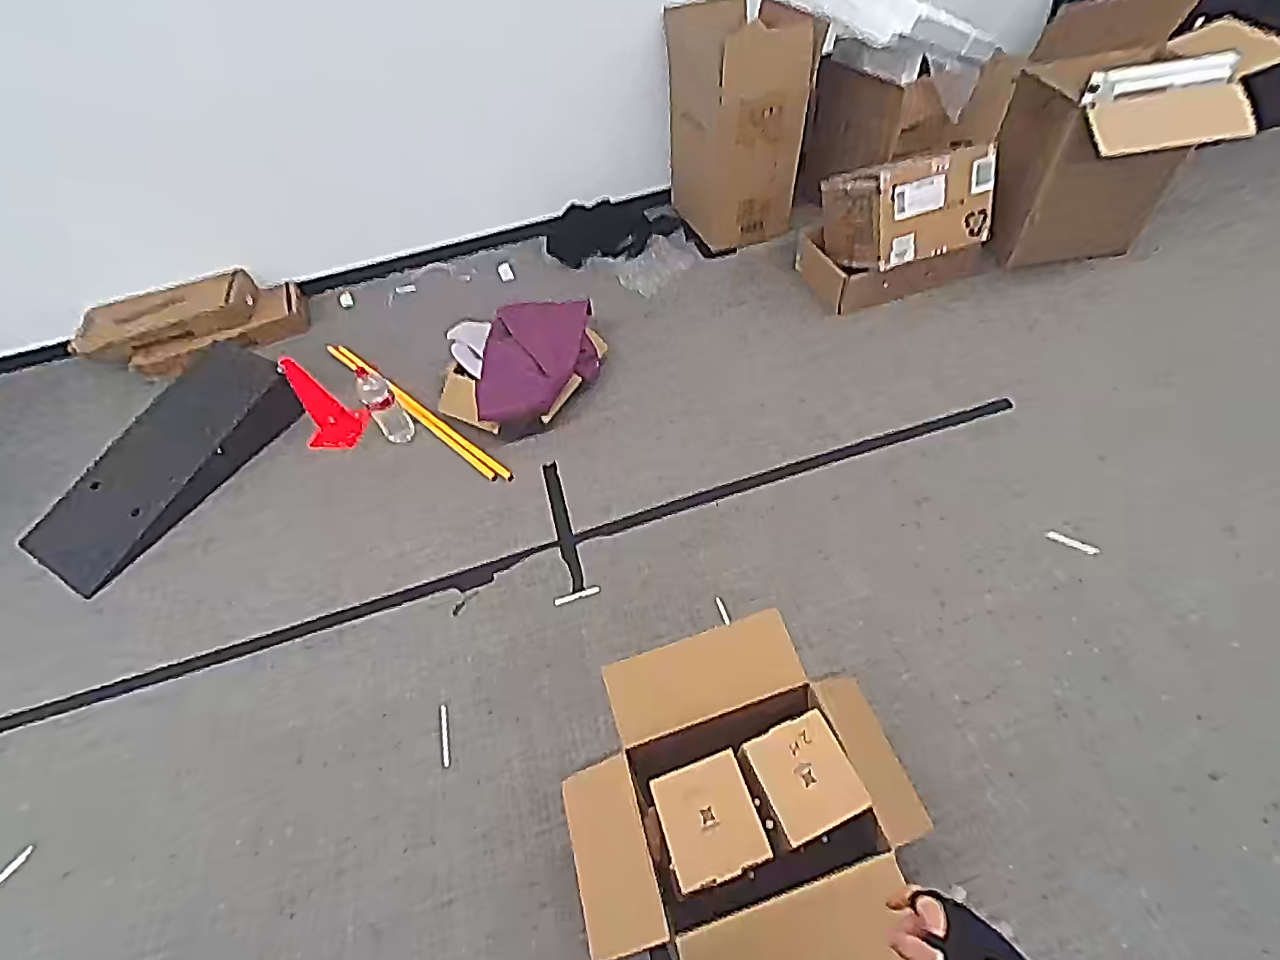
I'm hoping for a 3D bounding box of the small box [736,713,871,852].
[{"bbox_3d":[0.297,0.578,1.027,0.168,0.176,0.179,-19,53,-12],"label":"small box"}]
